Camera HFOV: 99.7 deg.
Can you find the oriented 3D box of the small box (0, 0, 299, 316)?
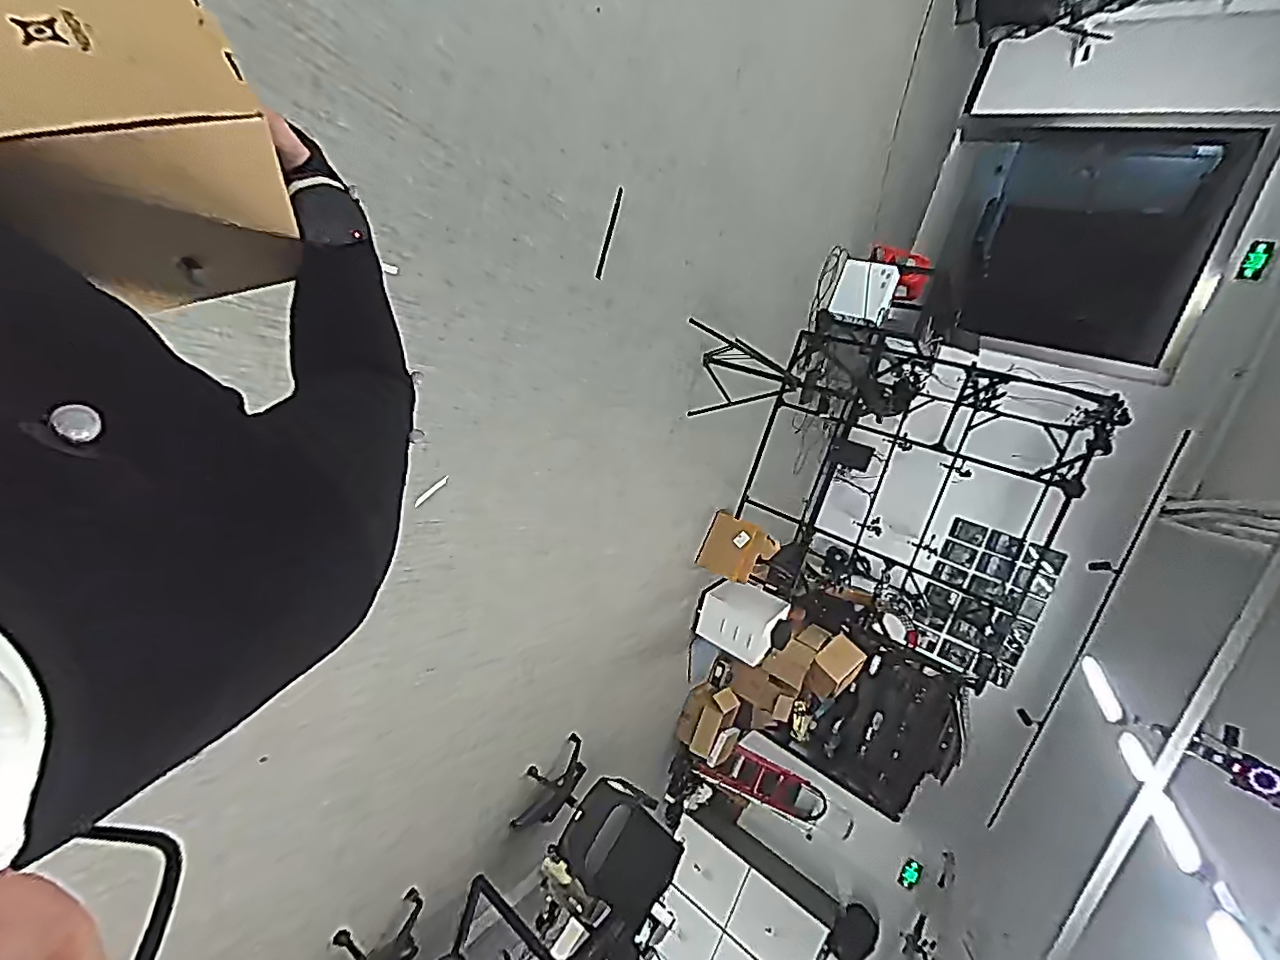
[{"bbox_3d":[-0.406,-0.265,0.438,0.179,0.168,0.176,-29,171,-28],"label":"small box"}]
